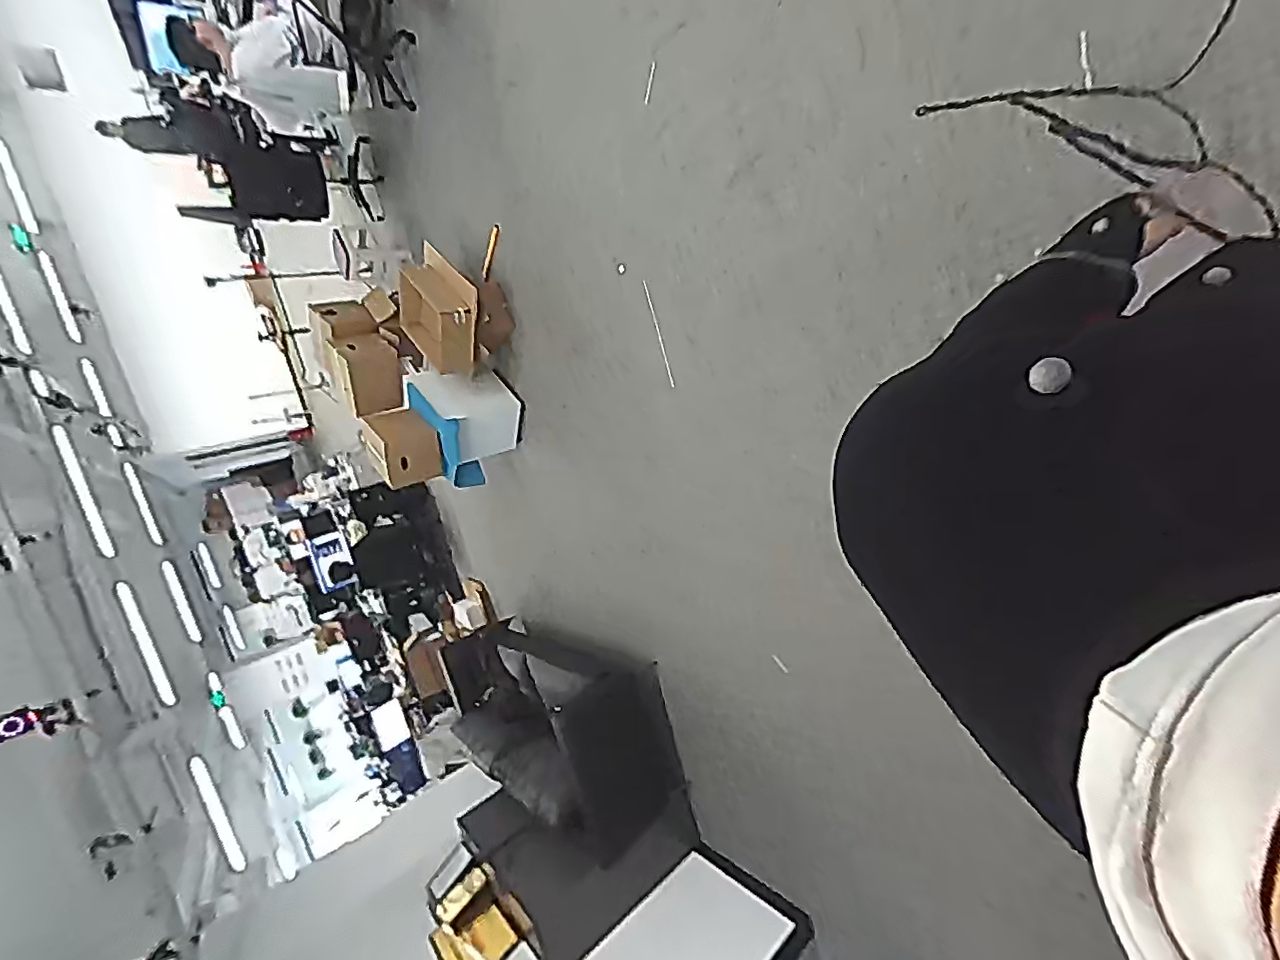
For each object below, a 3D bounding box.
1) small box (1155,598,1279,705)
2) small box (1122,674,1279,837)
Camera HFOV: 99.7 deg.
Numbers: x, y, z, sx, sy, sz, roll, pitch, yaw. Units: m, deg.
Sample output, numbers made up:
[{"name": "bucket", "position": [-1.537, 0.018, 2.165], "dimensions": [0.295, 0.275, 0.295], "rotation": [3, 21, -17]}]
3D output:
[{"name": "small box", "position": [1.276, 0.389, 1.183], "dimensions": [0.168, 0.176, 0.179], "rotation": [25, 127, 44]}, {"name": "small box", "position": [1.030, 0.486, 0.990], "dimensions": [0.179, 0.176, 0.168], "rotation": [17, 121, 46]}]
